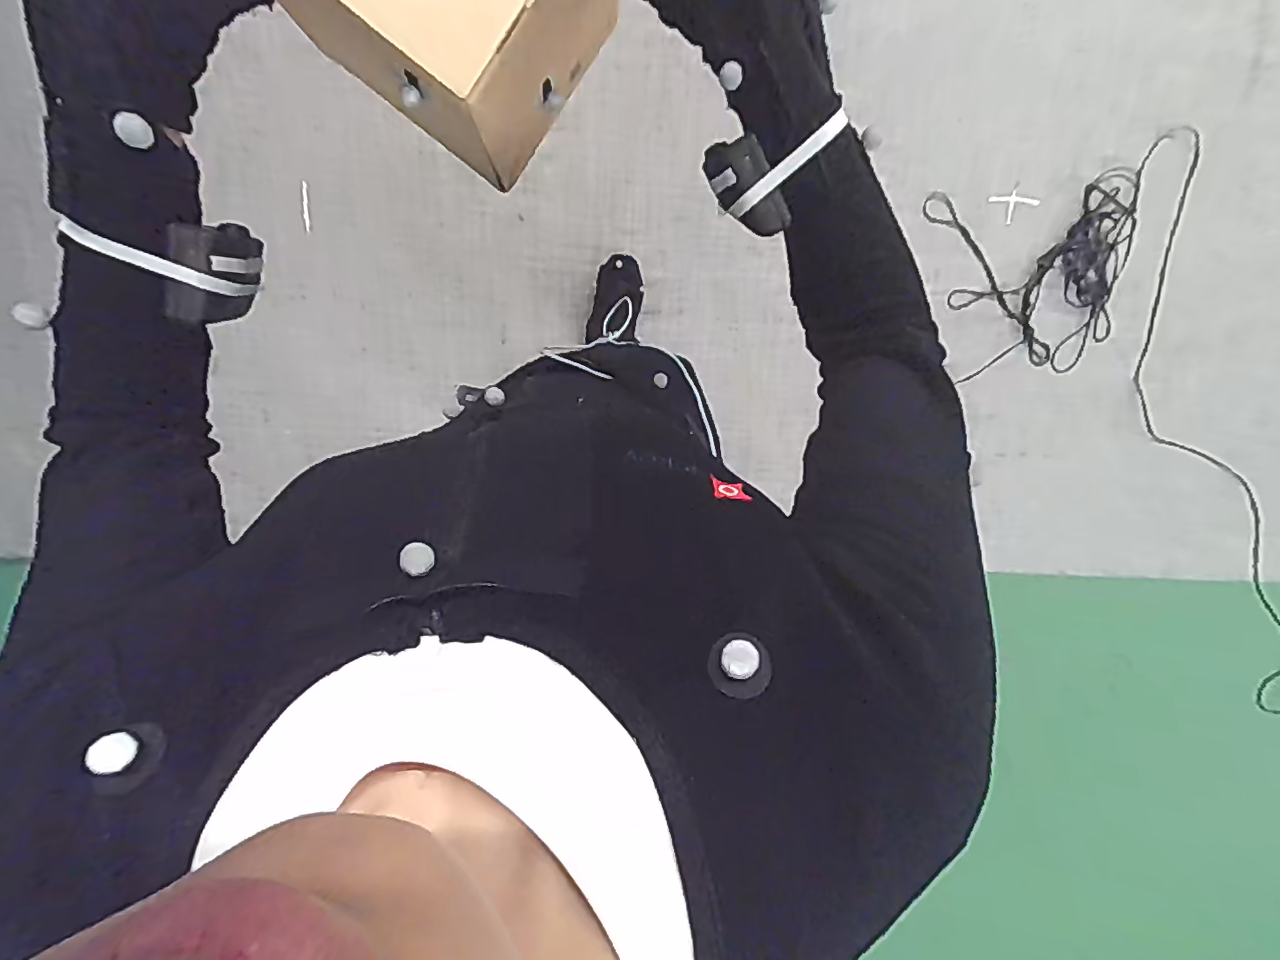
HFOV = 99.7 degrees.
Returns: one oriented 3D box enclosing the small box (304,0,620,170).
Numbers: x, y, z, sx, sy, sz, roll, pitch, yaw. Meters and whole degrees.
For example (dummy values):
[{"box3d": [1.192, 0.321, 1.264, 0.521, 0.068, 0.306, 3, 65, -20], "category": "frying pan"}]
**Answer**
[{"box3d": [-0.122, -0.346, 0.355, 0.179, 0.176, 0.168, 35, 97, -14], "category": "small box"}]
